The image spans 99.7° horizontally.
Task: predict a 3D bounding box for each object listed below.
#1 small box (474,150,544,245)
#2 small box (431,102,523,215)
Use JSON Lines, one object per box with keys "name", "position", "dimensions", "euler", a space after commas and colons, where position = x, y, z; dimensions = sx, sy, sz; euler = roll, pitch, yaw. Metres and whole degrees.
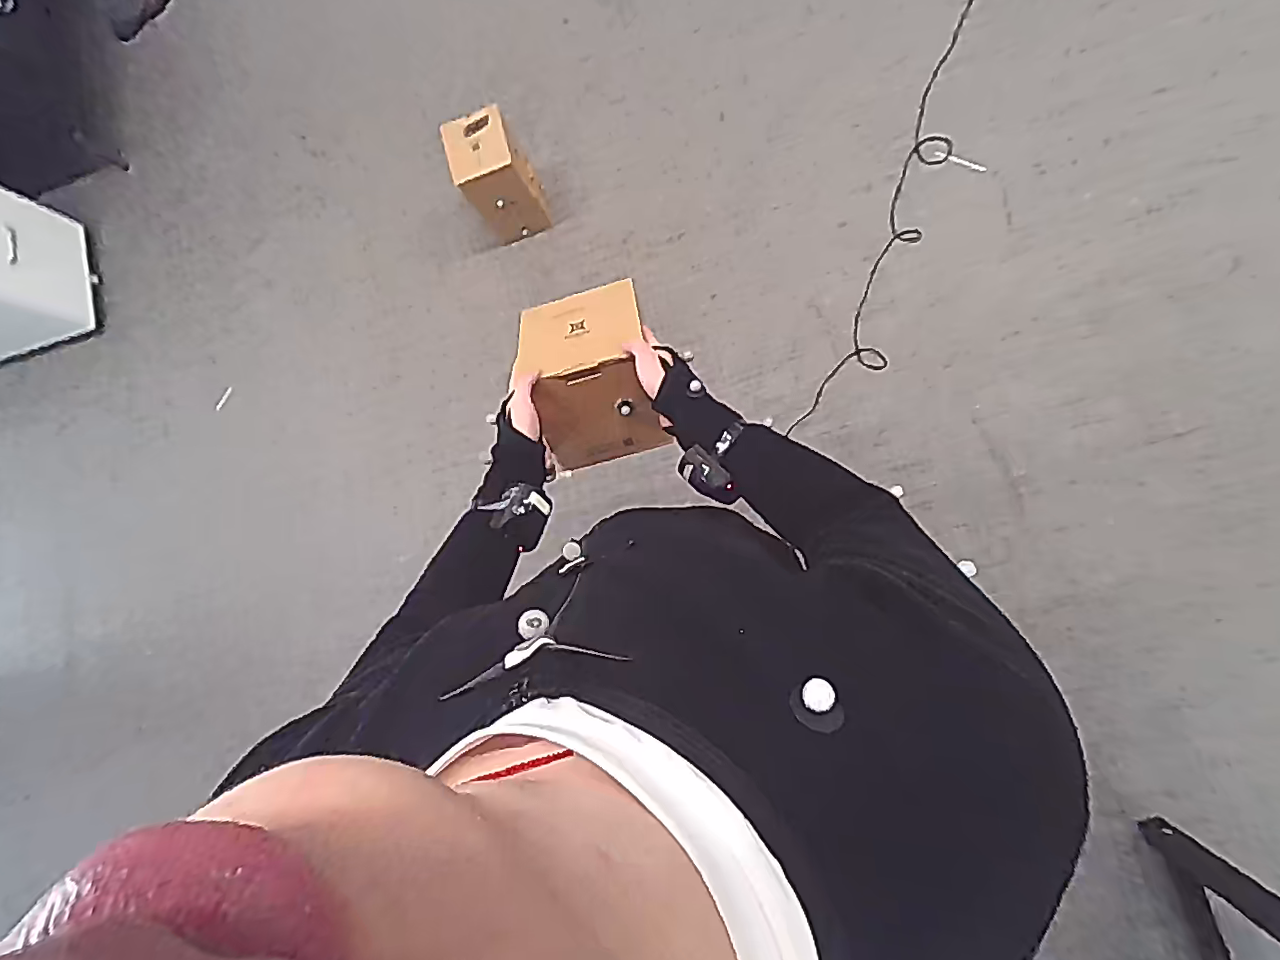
{"name": "small box", "position": [-0.406, -0.851, 1.643], "dimensions": [0.179, 0.176, 0.168], "euler": [-18, 84, 7]}
{"name": "small box", "position": [-0.433, -0.858, 1.459], "dimensions": [0.168, 0.176, 0.179], "euler": [-14, 84, 9]}
